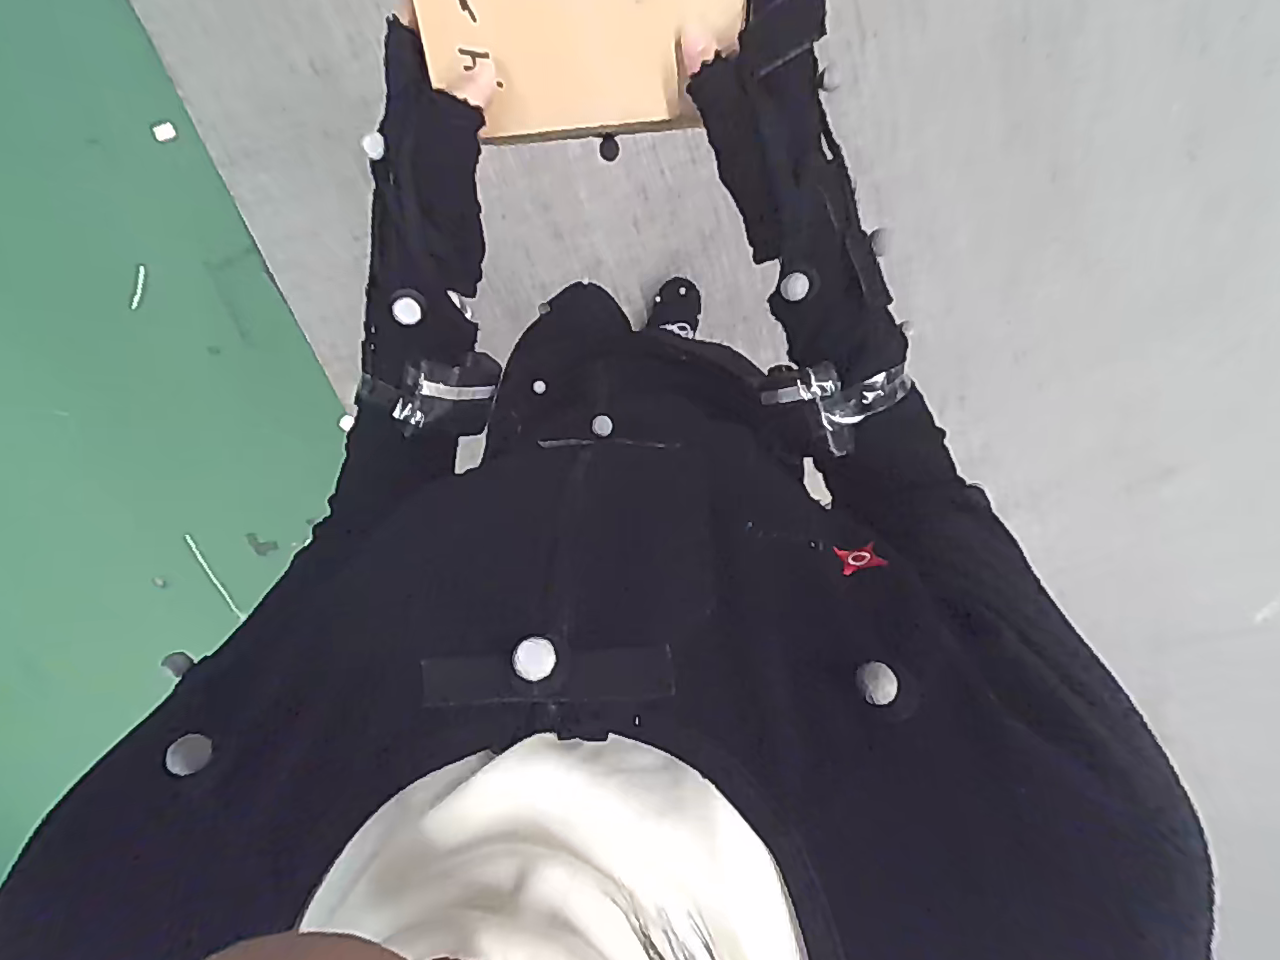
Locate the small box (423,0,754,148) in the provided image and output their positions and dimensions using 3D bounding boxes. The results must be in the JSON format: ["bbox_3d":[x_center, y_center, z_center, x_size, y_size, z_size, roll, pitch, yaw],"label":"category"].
[{"bbox_3d":[-0.031,-0.314,0.341,0.179,0.176,0.168,-4,119,2],"label":"small box"}]
